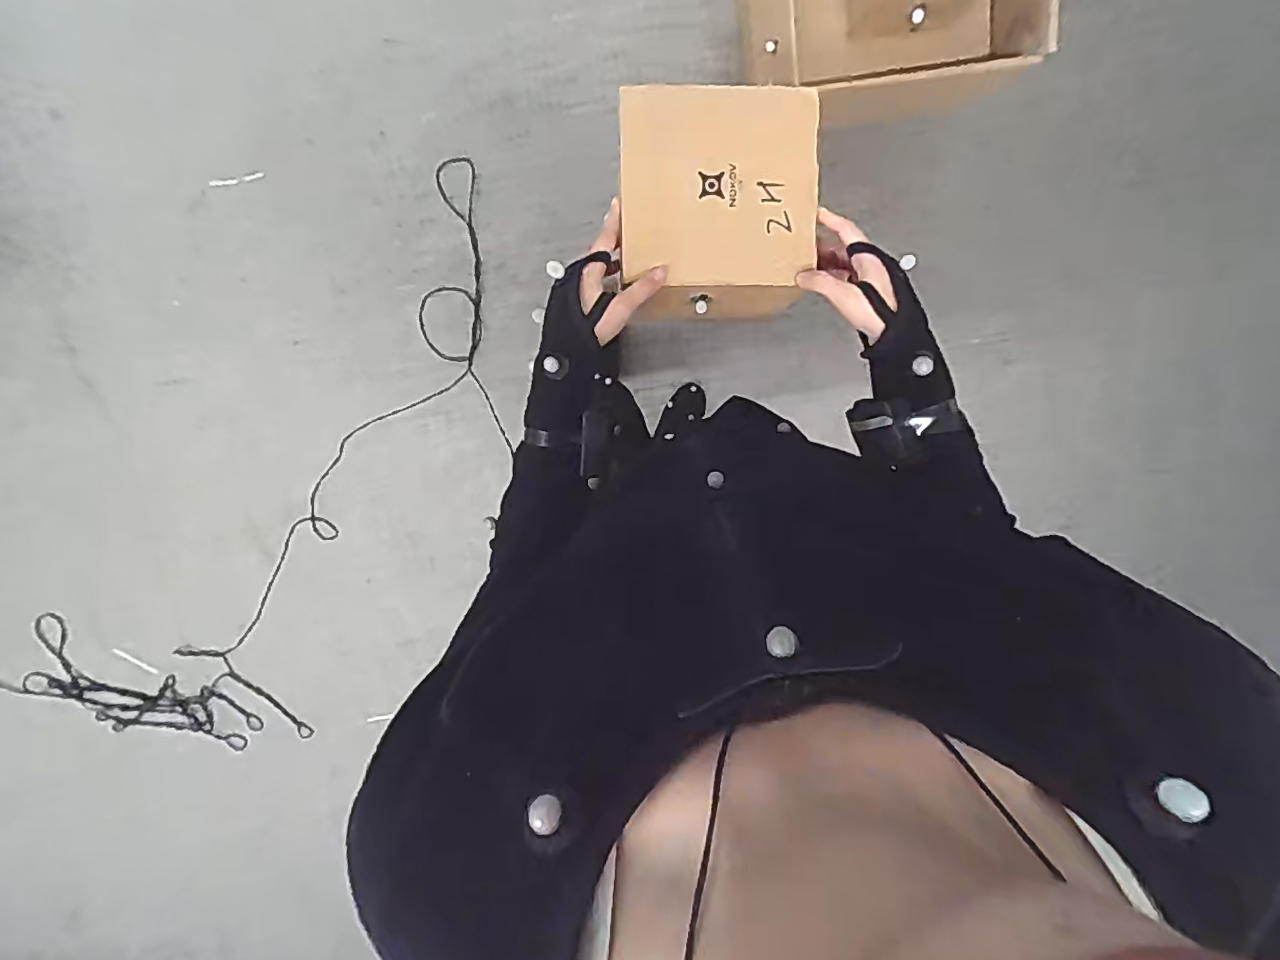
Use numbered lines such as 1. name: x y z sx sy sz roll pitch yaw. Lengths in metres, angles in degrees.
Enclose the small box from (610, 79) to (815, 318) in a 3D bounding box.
1. small box: 0.060 -0.262 0.544 0.179 0.176 0.168 -1 95 -3
